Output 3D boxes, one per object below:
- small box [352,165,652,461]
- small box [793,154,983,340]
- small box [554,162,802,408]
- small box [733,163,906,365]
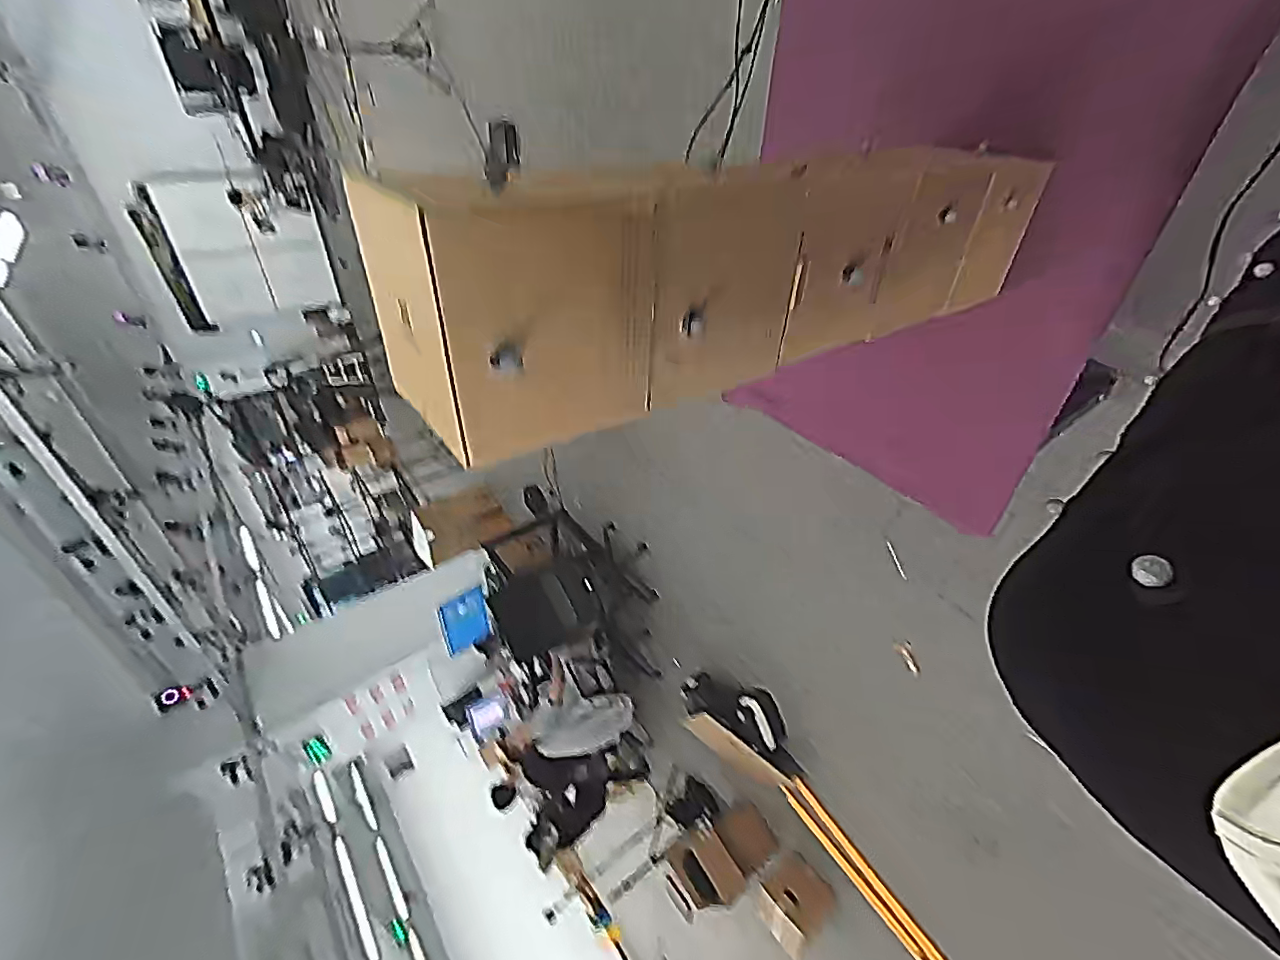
[{"bbox_3d":[-0.102,-0.148,0.439,0.168,0.176,0.179,38,139,40],"label":"small box"},{"bbox_3d":[0.293,-0.303,0.684,0.168,0.176,0.179,40,140,39],"label":"small box"},{"bbox_3d":[0.030,-0.196,0.520,0.168,0.176,0.179,39,138,40],"label":"small box"},{"bbox_3d":[0.160,-0.251,0.606,0.179,0.176,0.168,38,139,40],"label":"small box"}]
